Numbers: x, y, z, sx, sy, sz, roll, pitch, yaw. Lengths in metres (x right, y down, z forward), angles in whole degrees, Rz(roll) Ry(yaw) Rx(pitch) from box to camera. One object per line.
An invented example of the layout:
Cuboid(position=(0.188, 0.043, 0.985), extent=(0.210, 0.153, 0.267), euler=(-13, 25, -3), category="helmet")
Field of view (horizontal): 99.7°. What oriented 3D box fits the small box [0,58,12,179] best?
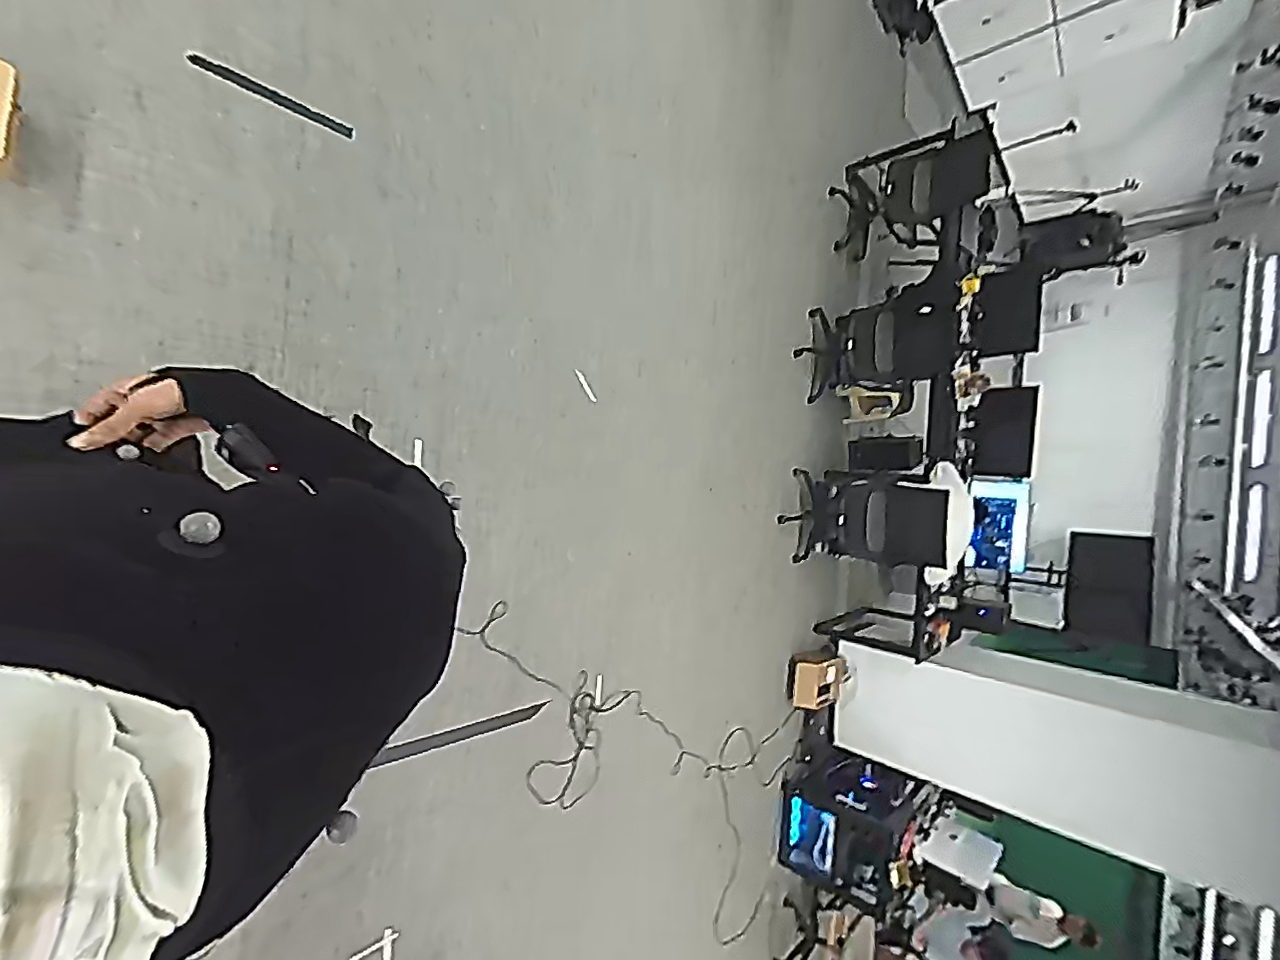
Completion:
Cuboid(position=(-1.247, -0.671, 0.953), extent=(0.168, 0.176, 0.179), euler=(8, 86, -47), category="small box")
